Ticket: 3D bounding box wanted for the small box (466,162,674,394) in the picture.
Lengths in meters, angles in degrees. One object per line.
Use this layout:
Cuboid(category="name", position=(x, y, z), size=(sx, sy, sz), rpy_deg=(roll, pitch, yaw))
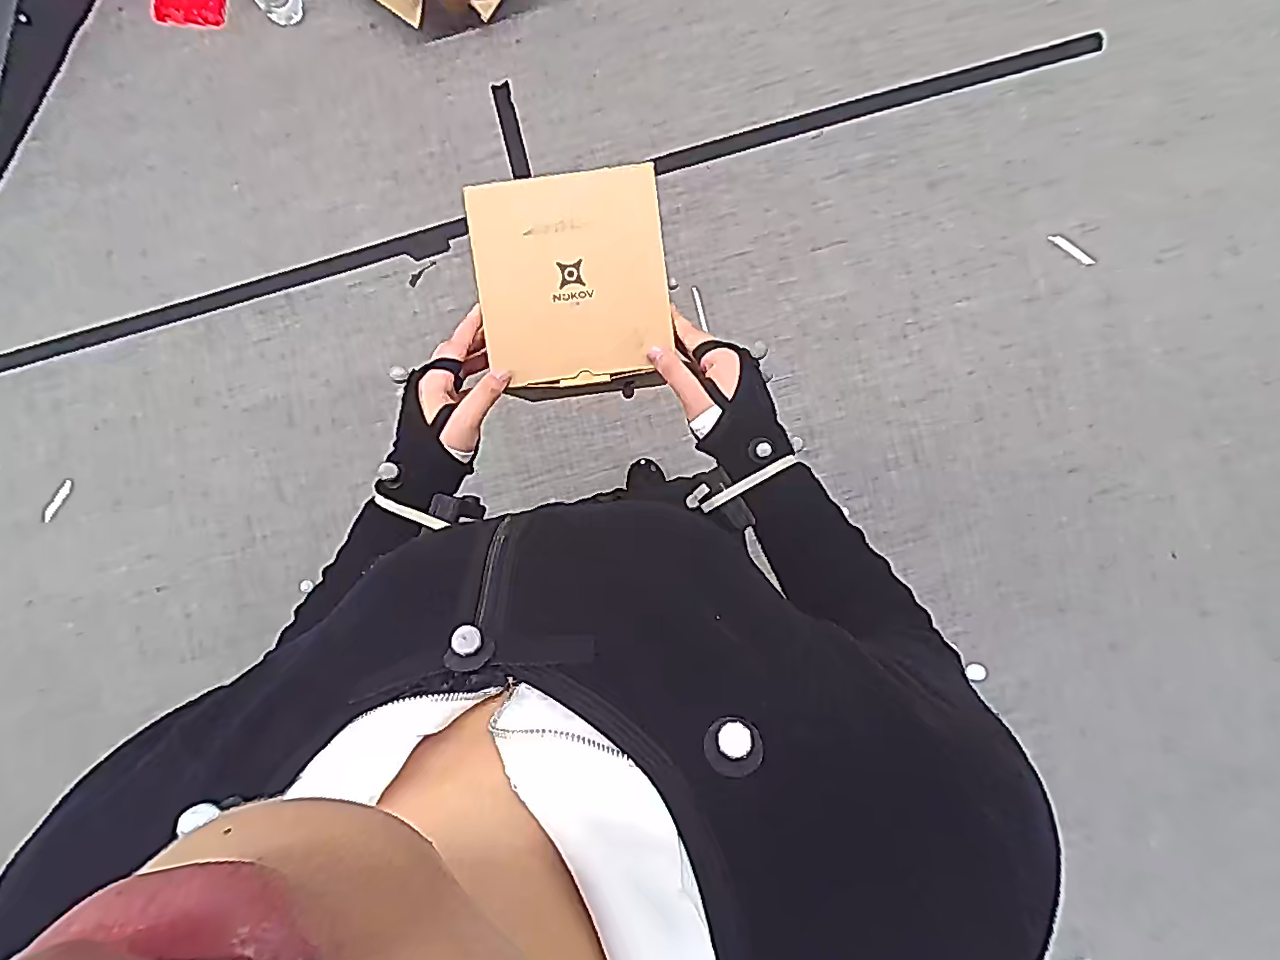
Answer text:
Cuboid(category="small box", position=(-0.060, -0.183, 0.547), size=(0.168, 0.176, 0.179), rpy_deg=(-7, 94, -1))
